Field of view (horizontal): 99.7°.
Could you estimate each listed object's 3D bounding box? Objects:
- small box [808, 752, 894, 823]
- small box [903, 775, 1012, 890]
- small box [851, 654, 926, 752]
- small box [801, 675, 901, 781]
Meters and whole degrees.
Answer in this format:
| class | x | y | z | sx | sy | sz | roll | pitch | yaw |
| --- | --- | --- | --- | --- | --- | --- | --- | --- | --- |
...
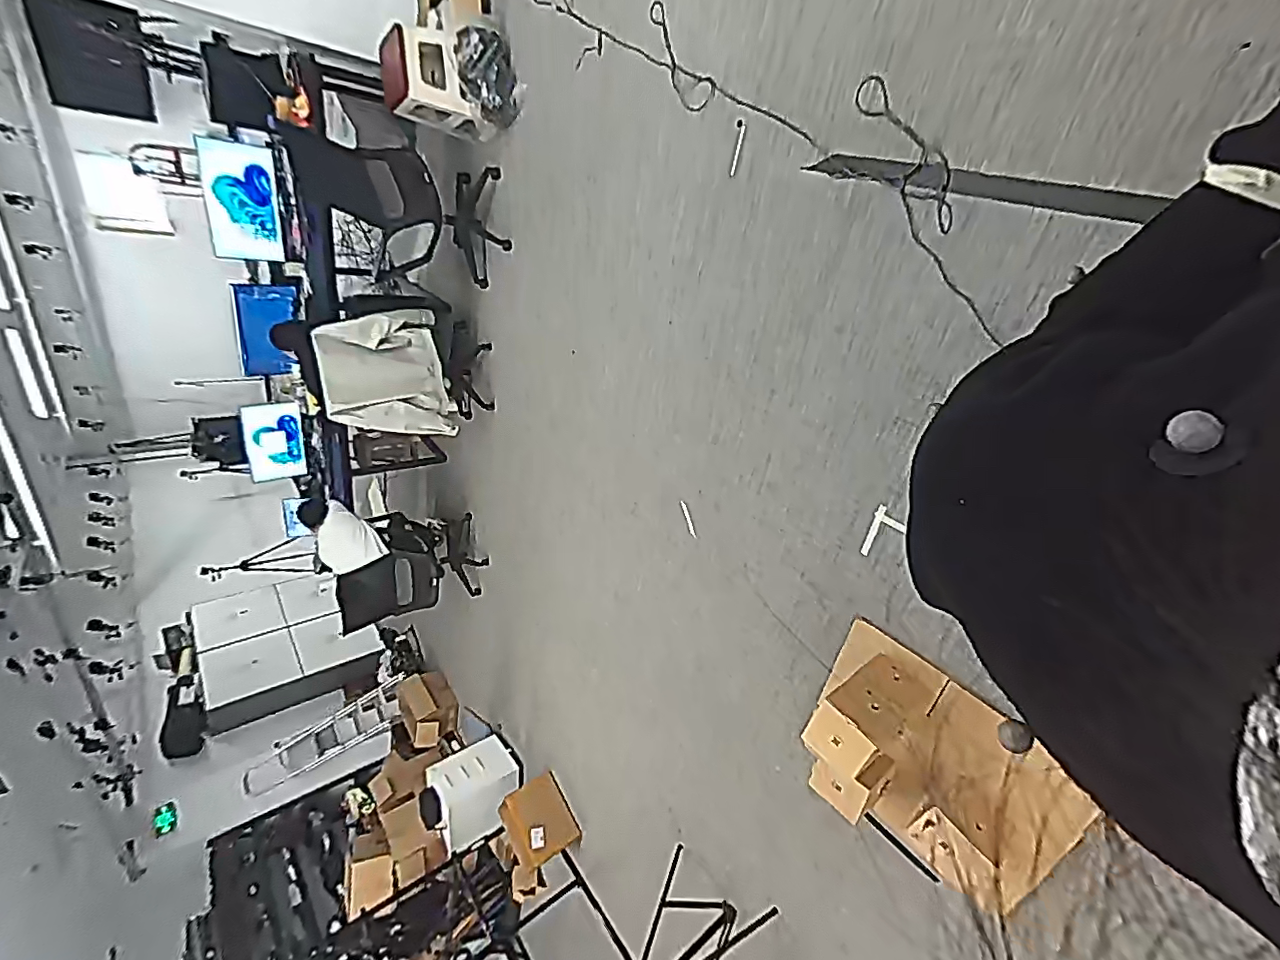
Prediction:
| class | x | y | z | sx | sy | sz | roll | pitch | yaw |
| --- | --- | --- | --- | --- | --- | --- | --- | --- | --- |
| small box | 0.674 | 0.934 | 1.730 | 0.179 | 0.176 | 0.168 | 31 | 124 | 42 |
| small box | 0.875 | 0.963 | 1.488 | 0.179 | 0.176 | 0.168 | 44 | 130 | 32 |
| small box | 0.712 | 0.656 | 1.603 | 0.168 | 0.176 | 0.179 | 36 | 125 | 38 |
| small box | 0.587 | 0.683 | 1.501 | 0.168 | 0.176 | 0.179 | 40 | 127 | 37 |
